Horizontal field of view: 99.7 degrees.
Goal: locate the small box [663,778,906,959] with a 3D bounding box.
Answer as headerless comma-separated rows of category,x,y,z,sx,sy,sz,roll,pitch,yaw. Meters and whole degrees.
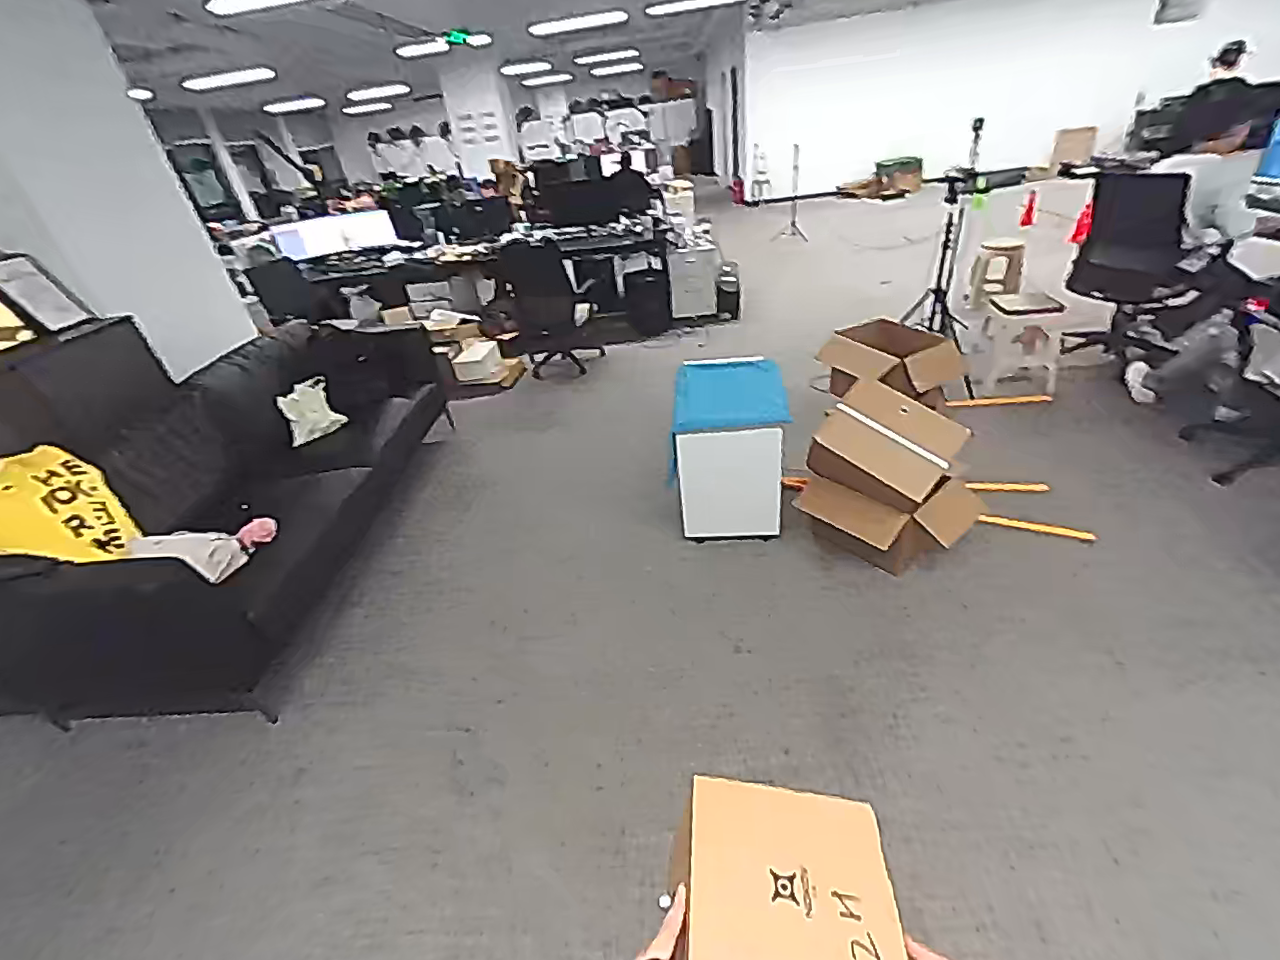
small box,0.115,0.406,0.487,0.179,0.176,0.168,9,34,3
